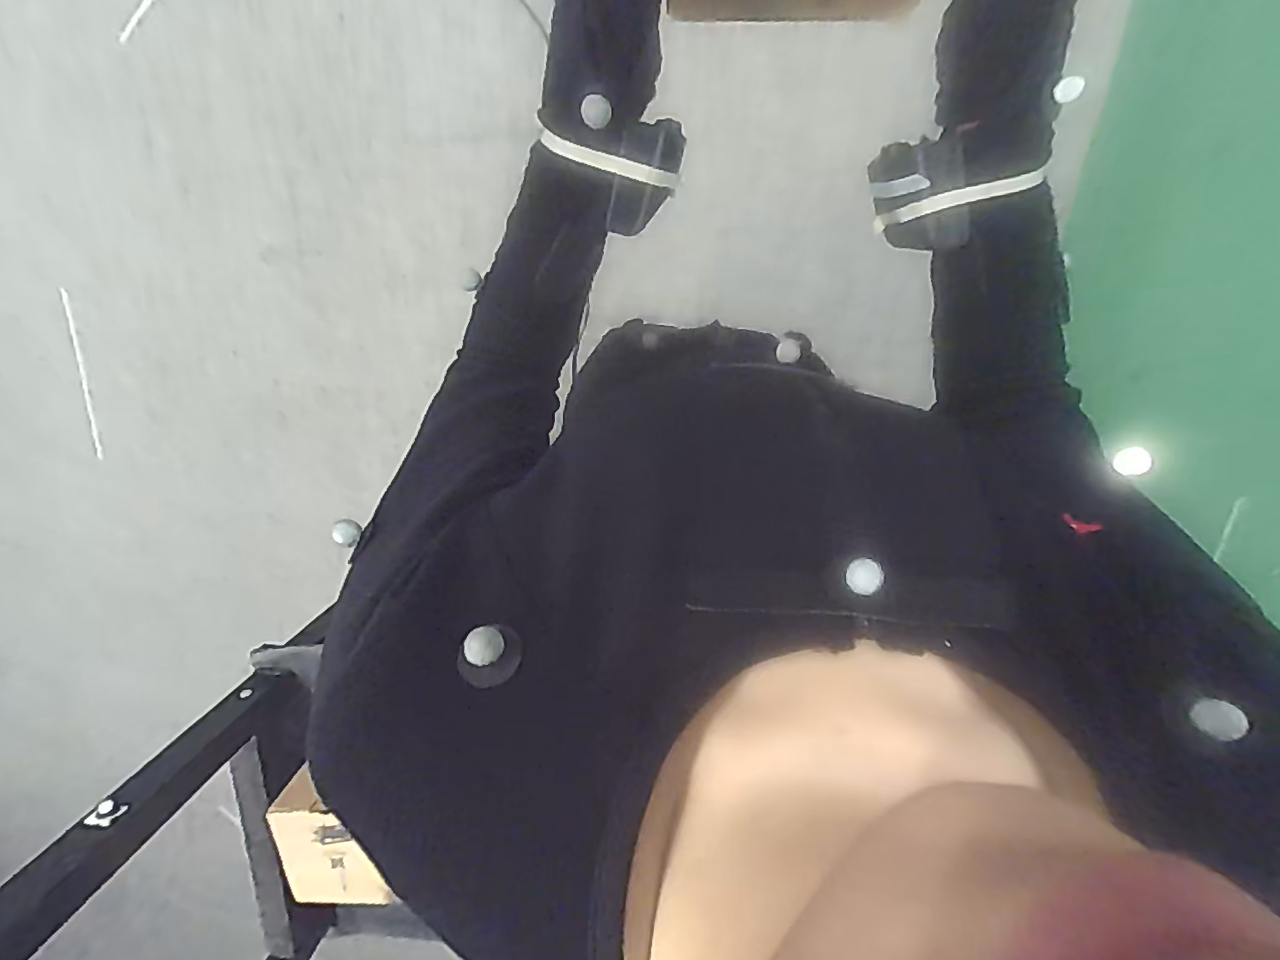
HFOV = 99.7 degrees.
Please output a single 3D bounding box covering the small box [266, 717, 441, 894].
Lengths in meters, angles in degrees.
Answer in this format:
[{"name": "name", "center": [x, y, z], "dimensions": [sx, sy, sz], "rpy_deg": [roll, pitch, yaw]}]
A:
[{"name": "small box", "center": [-0.427, 0.492, 0.837], "dimensions": [0.168, 0.176, 0.179], "rpy_deg": [0, 107, 3]}]
